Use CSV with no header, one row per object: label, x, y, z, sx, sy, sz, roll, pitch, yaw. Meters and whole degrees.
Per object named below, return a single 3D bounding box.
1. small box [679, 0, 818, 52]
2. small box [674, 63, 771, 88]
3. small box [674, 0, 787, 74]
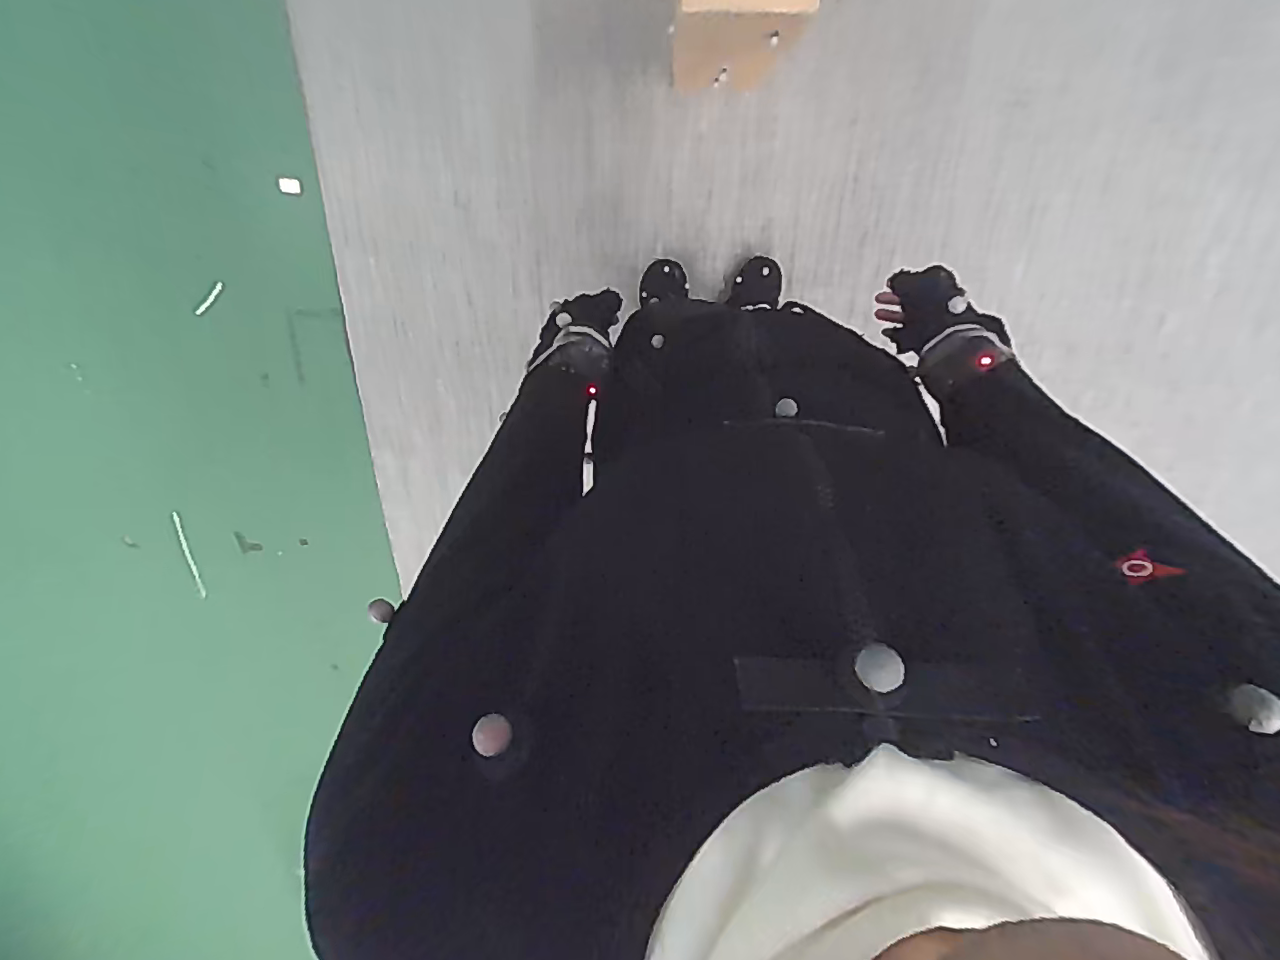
small box,0.143,-0.700,0.723,0.179,0.176,0.168,2,114,4
small box,0.156,-0.852,1.011,0.179,0.176,0.168,3,115,4
small box,0.145,-0.773,0.871,0.179,0.176,0.168,2,117,4
